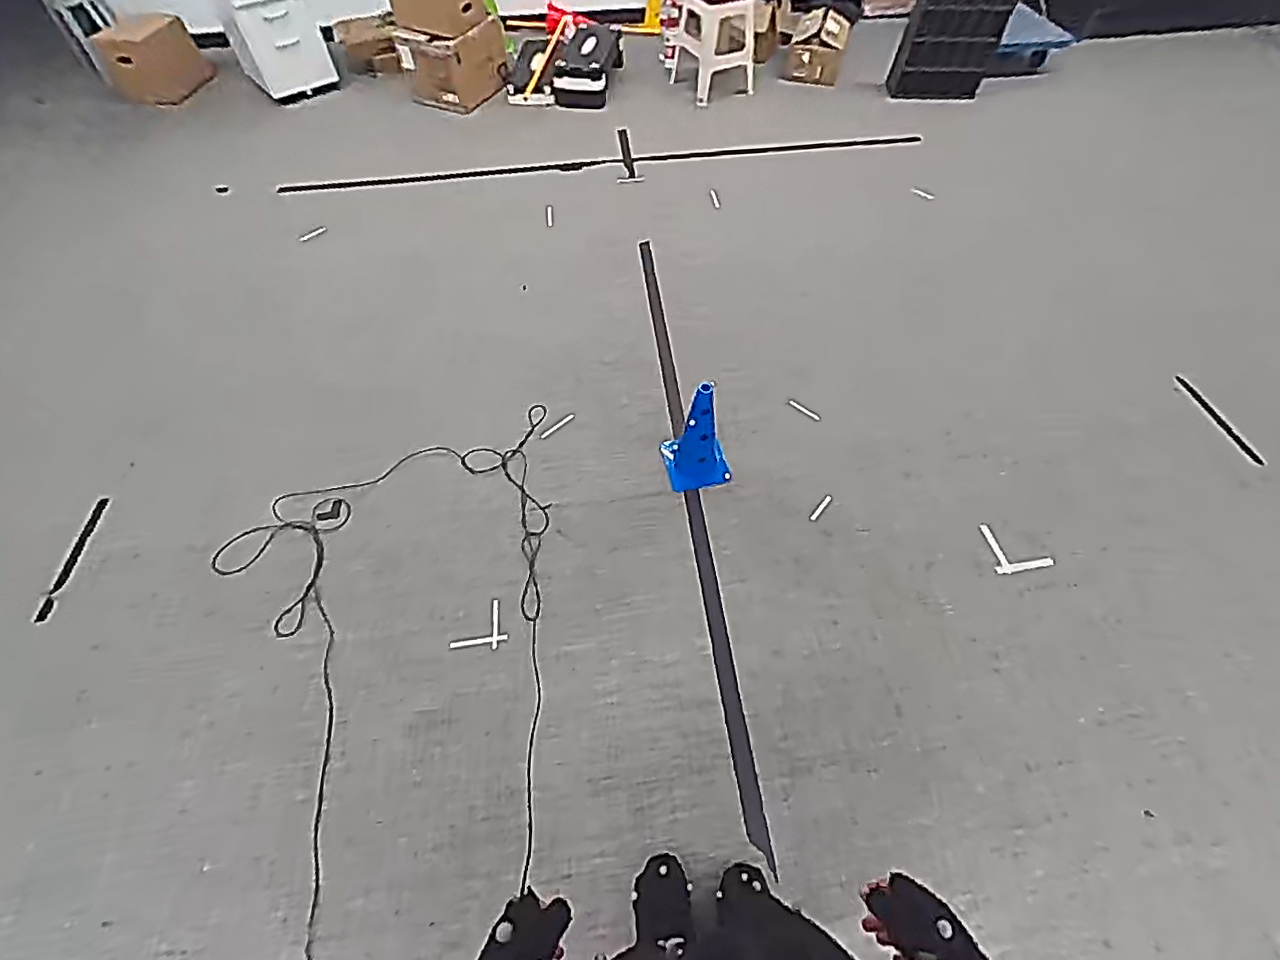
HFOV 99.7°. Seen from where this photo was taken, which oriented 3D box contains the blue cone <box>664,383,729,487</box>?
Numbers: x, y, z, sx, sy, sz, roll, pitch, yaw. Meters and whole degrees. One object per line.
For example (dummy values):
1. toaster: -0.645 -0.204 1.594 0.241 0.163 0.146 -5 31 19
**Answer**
1. blue cone: 0.182 -0.151 1.634 0.192 0.380 0.193 -8 57 -6
